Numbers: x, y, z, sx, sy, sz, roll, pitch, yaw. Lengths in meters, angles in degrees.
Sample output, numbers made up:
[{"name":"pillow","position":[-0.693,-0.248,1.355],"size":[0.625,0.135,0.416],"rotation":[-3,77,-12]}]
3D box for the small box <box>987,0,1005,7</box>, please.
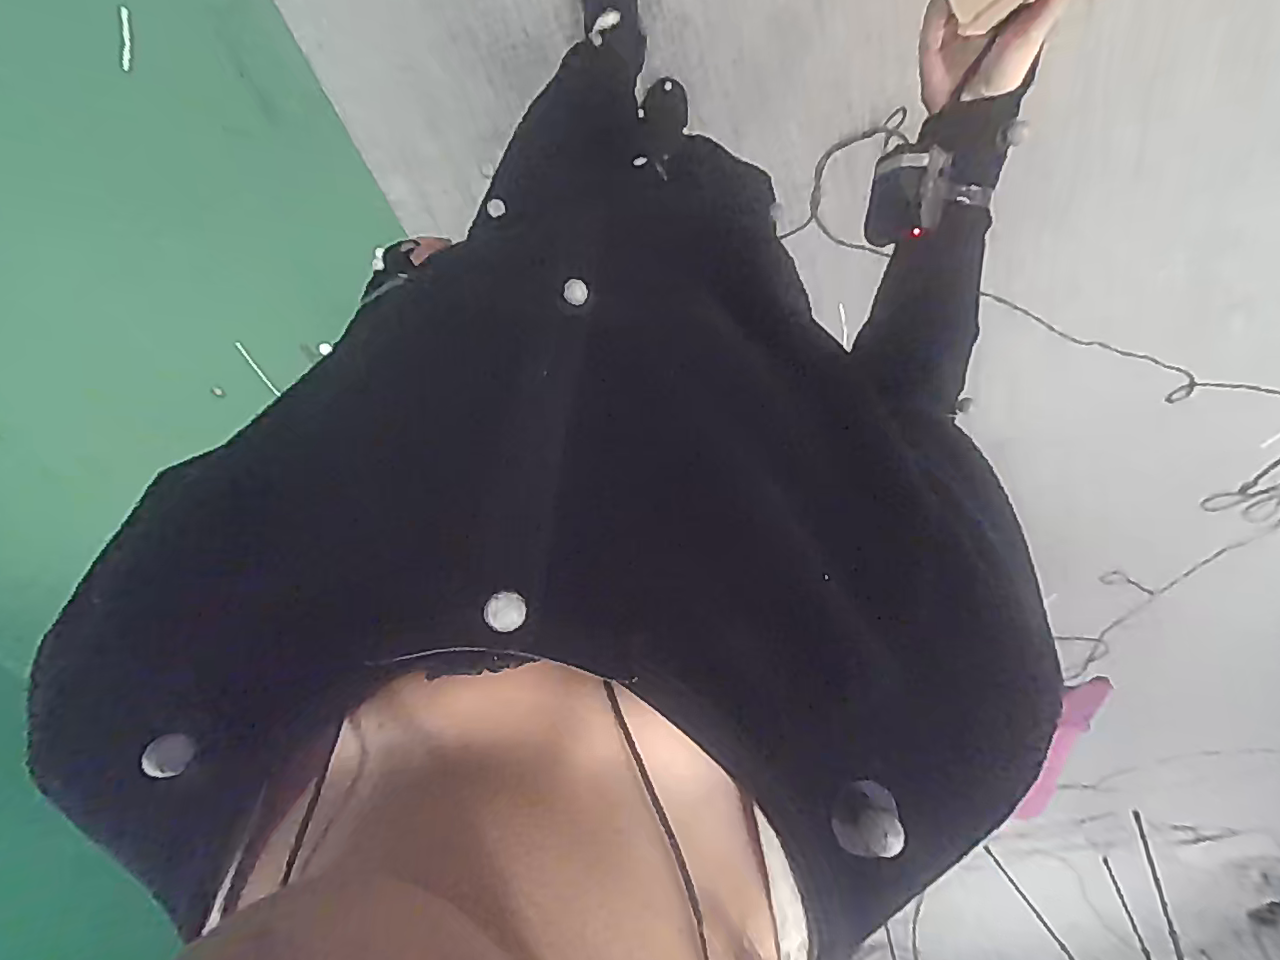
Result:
[{"name":"small box","position":[0.209,-0.367,0.235],"size":[0.179,0.168,0.176],"rotation":[-23,107,45]}]
